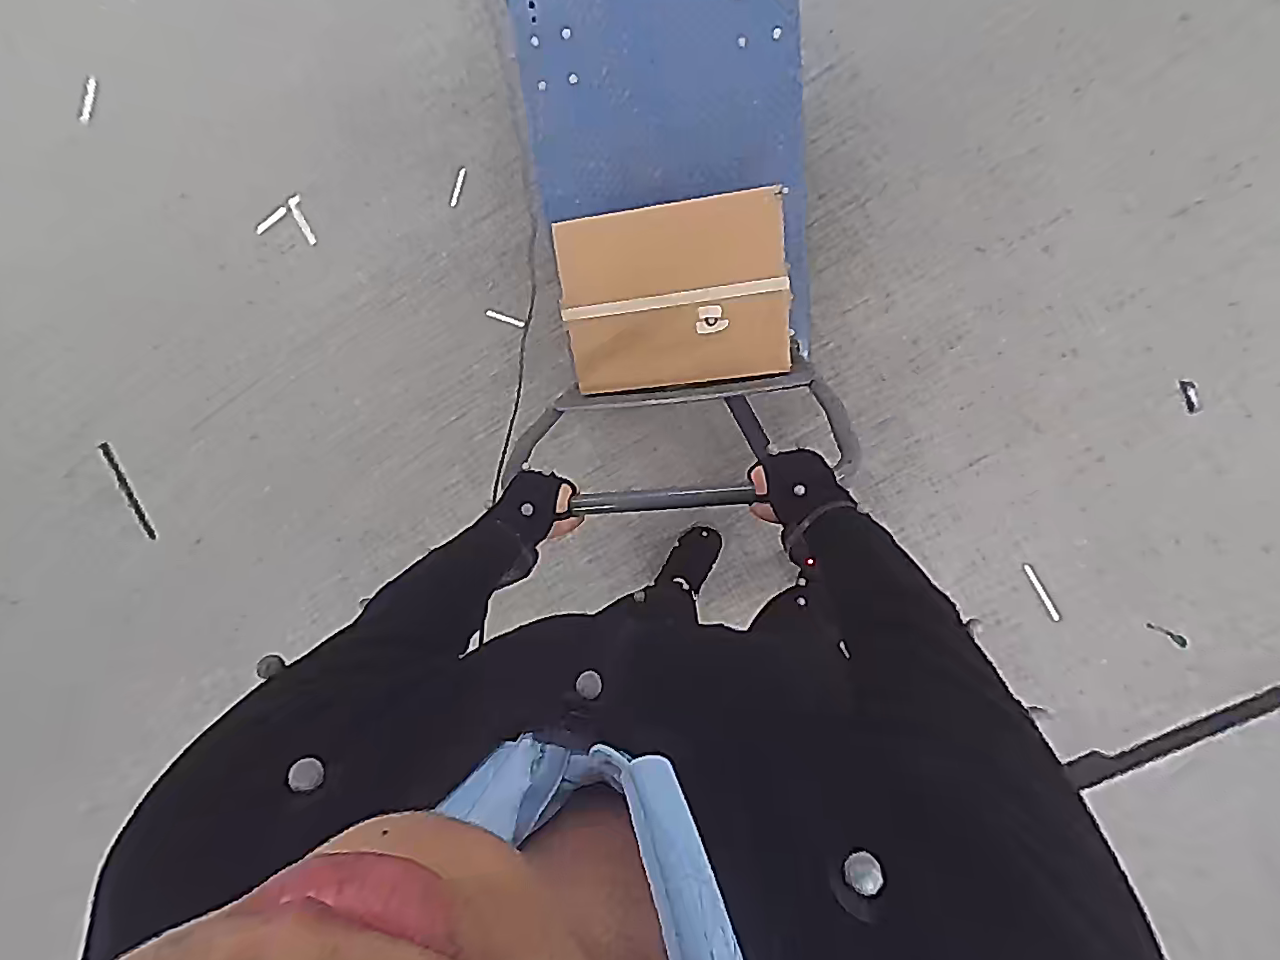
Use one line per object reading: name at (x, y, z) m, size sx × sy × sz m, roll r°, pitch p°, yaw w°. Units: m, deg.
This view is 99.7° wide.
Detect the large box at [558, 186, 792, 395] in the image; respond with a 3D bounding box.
large box at (0.083, -0.382, 1.135) m, size 0.408 × 0.320 × 0.320 m, roll -6°, pitch 109°, yaw 9°
